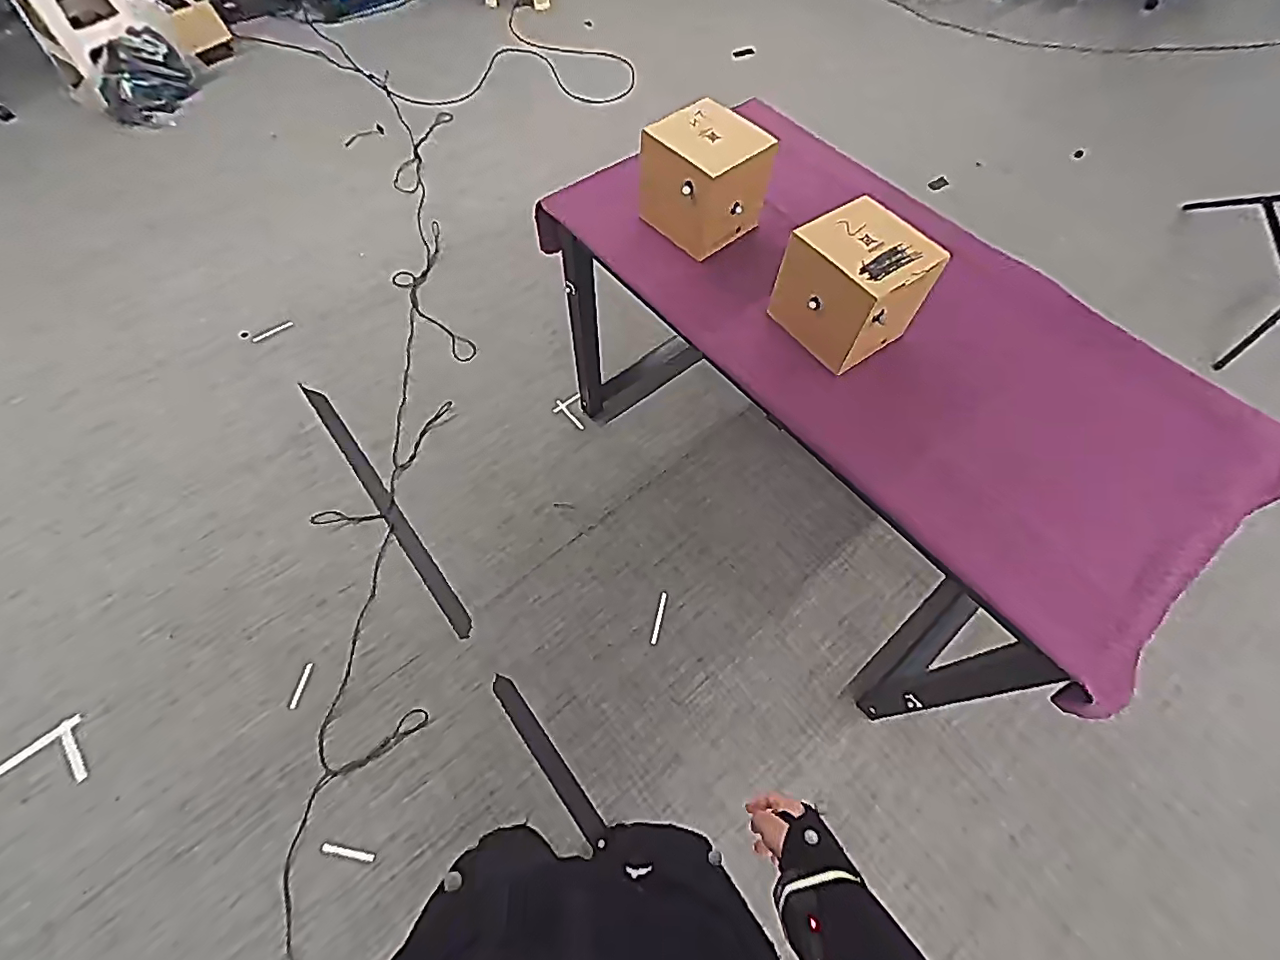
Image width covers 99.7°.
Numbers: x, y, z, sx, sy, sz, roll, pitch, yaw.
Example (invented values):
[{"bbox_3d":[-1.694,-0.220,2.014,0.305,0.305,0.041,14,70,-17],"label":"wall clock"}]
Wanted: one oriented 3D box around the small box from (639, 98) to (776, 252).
[{"bbox_3d":[0.115,-0.550,0.992,0.168,0.176,0.179,-38,69,-21],"label":"small box"}]
